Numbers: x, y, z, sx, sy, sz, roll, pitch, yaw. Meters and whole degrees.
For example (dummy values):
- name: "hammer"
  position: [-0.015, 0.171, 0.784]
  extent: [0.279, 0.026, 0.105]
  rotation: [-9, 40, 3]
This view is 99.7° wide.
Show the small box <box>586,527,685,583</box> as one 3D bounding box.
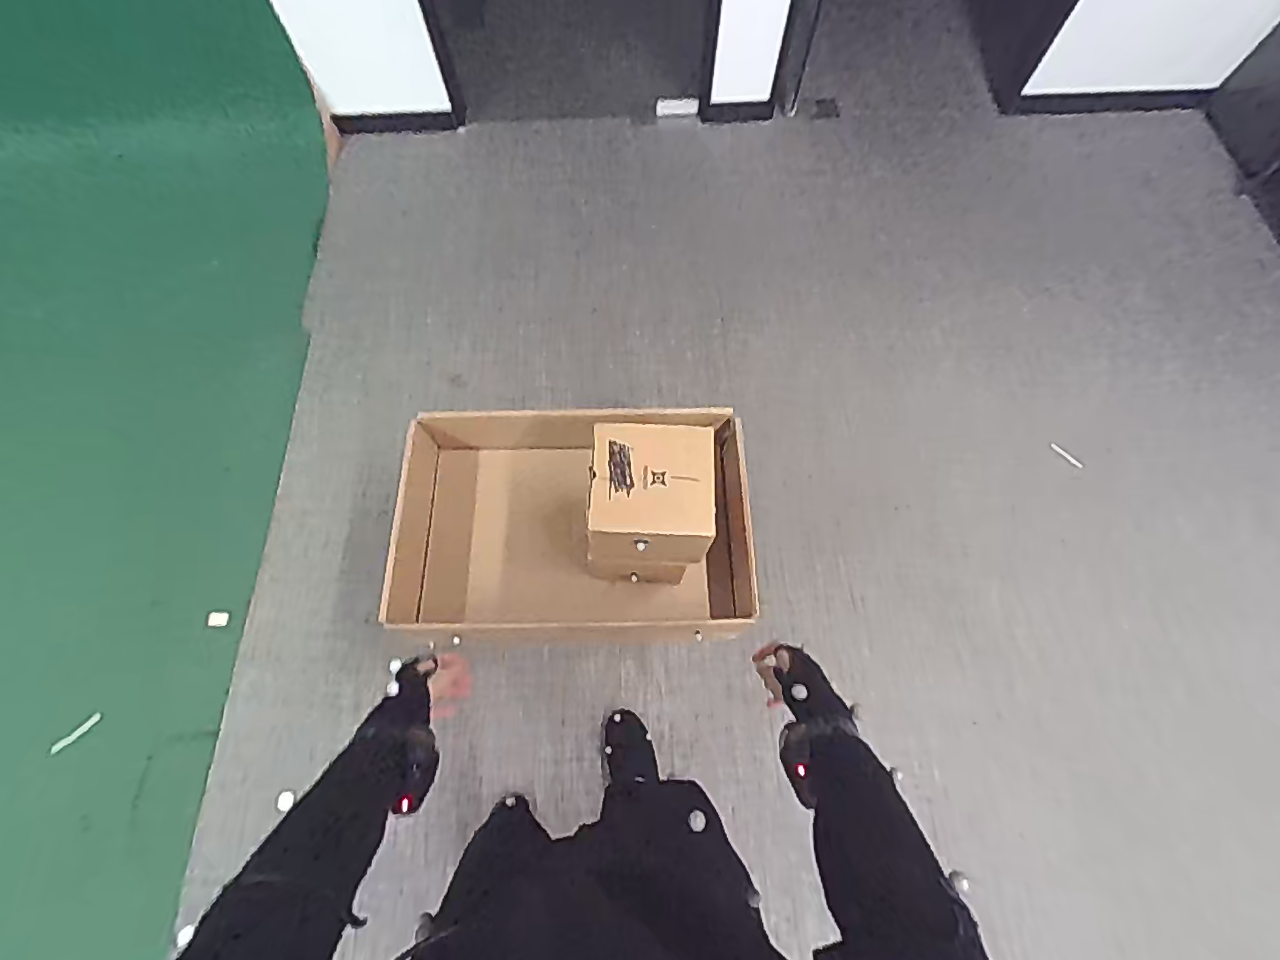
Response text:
- name: "small box"
  position: [0.000, 0.084, 0.978]
  extent: [0.168, 0.176, 0.179]
  rotation: [4, 67, 1]

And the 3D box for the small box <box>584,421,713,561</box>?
- name: "small box"
  position: [0.015, 0.024, 0.825]
  extent: [0.179, 0.176, 0.168]
  rotation: [3, 68, 0]
